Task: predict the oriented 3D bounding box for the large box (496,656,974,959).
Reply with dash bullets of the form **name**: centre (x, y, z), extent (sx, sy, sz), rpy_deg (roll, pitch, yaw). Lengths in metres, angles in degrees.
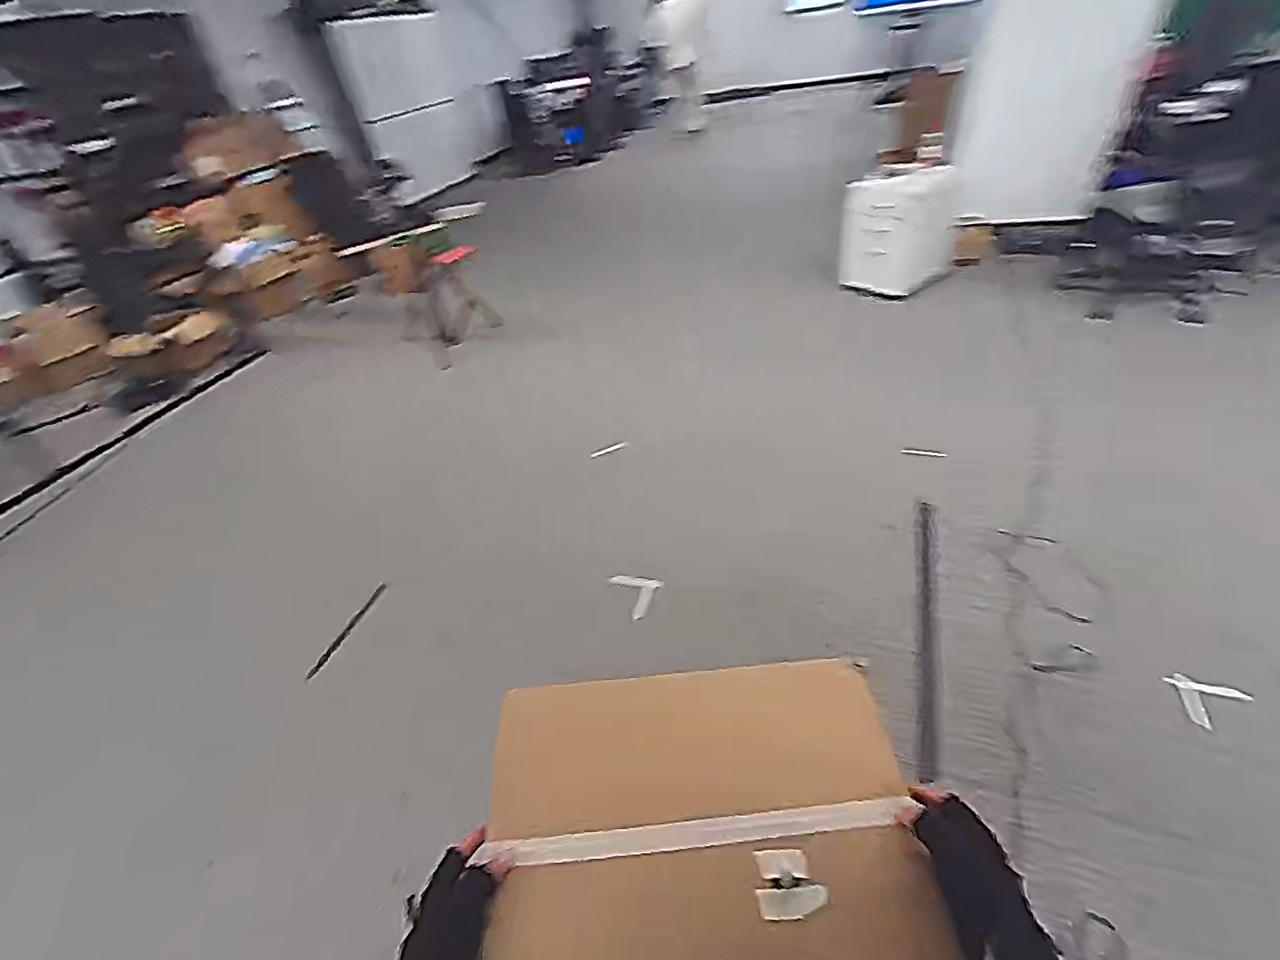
- **large box**: centre (0.073, 0.436, 0.625), extent (0.408, 0.320, 0.320), rpy_deg (-5, 46, -1)
